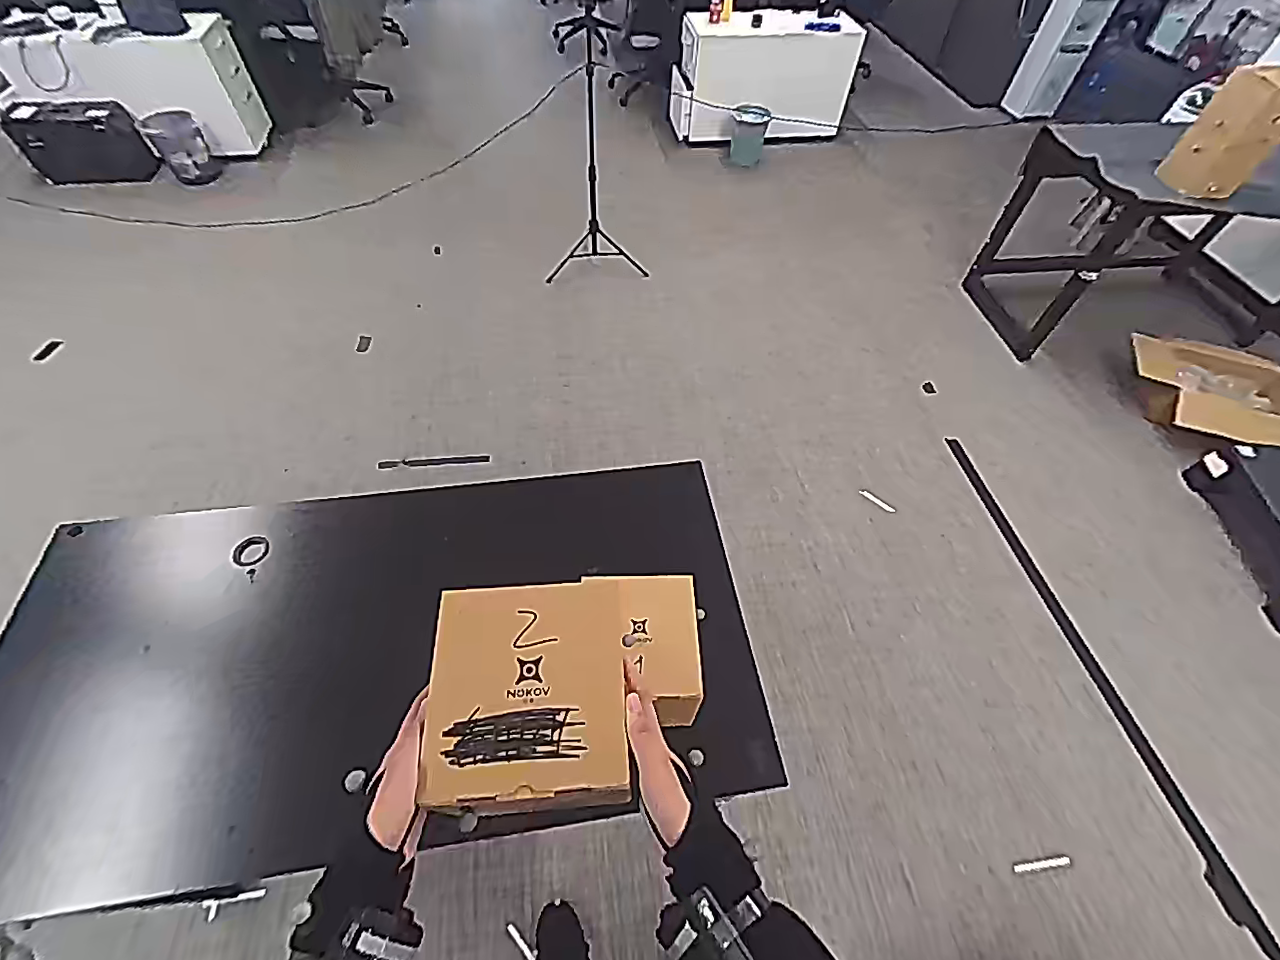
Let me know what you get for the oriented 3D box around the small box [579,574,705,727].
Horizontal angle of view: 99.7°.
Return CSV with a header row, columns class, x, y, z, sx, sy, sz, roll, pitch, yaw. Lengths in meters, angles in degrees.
class,x,y,z,sx,sy,sz,roll,pitch,yaw
small box,0.000,0.255,0.803,0.168,0.176,0.179,0,54,-1
